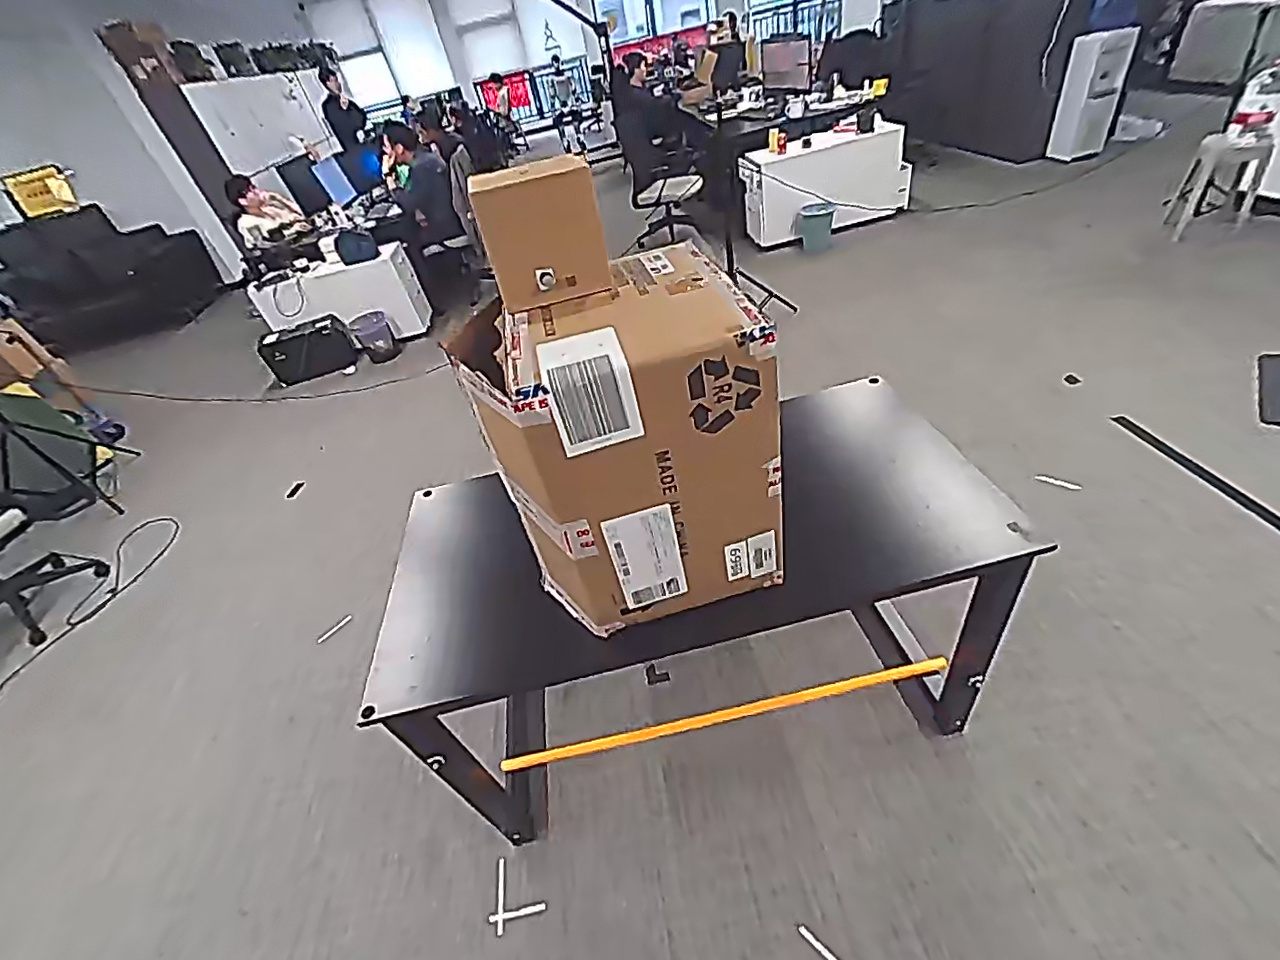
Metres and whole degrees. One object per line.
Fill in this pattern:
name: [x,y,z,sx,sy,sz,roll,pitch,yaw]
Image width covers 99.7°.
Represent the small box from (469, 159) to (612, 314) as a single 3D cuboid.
small box: [-0.152,-0.373,0.827,0.168,0.176,0.179,-18,38,-5]
